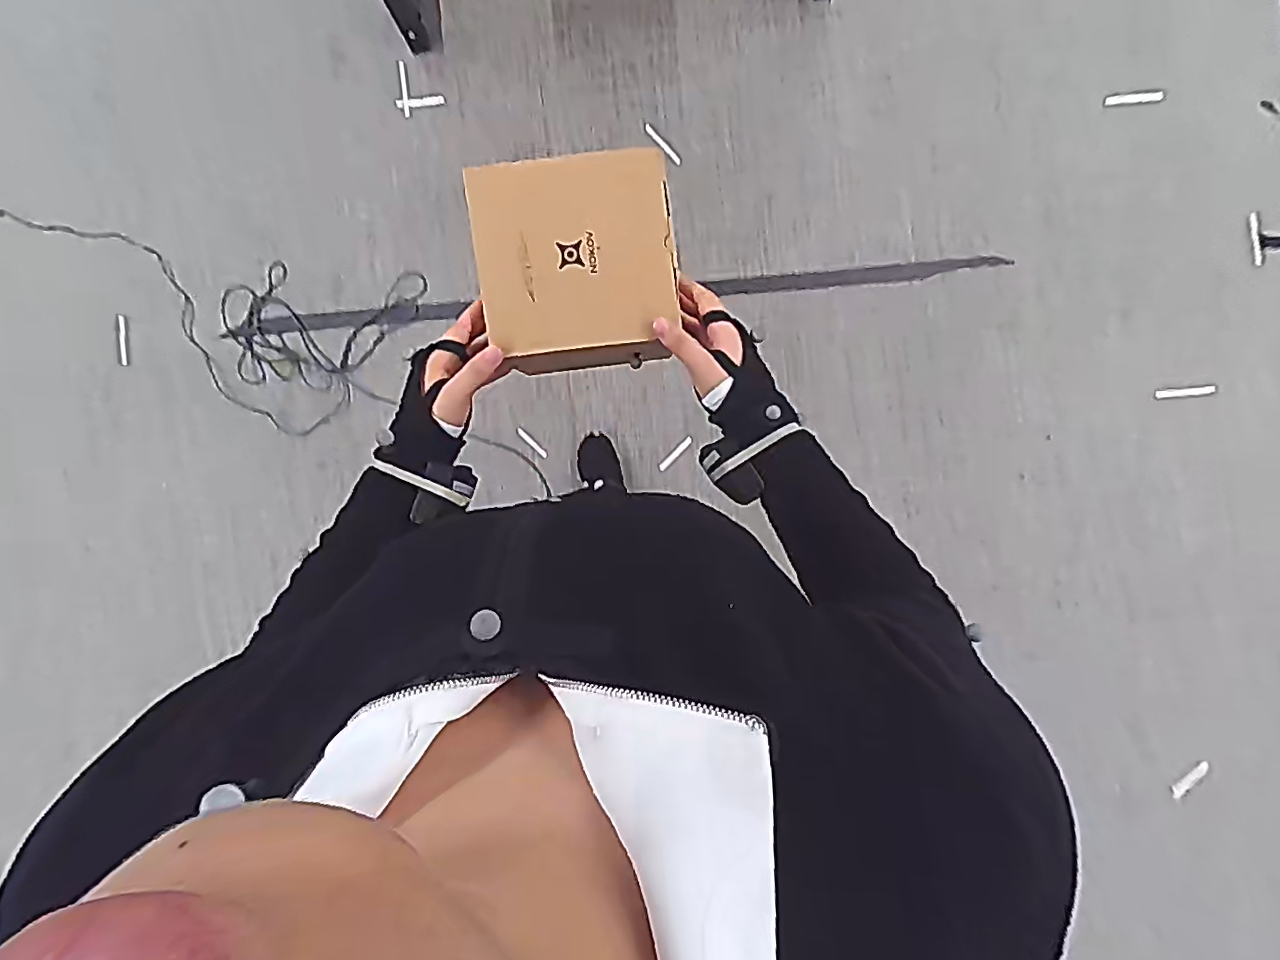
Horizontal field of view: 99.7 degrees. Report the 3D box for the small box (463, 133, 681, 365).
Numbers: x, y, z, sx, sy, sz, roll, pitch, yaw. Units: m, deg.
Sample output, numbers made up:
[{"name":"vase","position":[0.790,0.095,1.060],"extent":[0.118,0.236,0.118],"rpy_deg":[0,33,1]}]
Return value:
[{"name":"small box","position":[-0.060,-0.218,0.555],"extent":[0.179,0.176,0.168],"rpy_deg":[-8,95,1]}]
